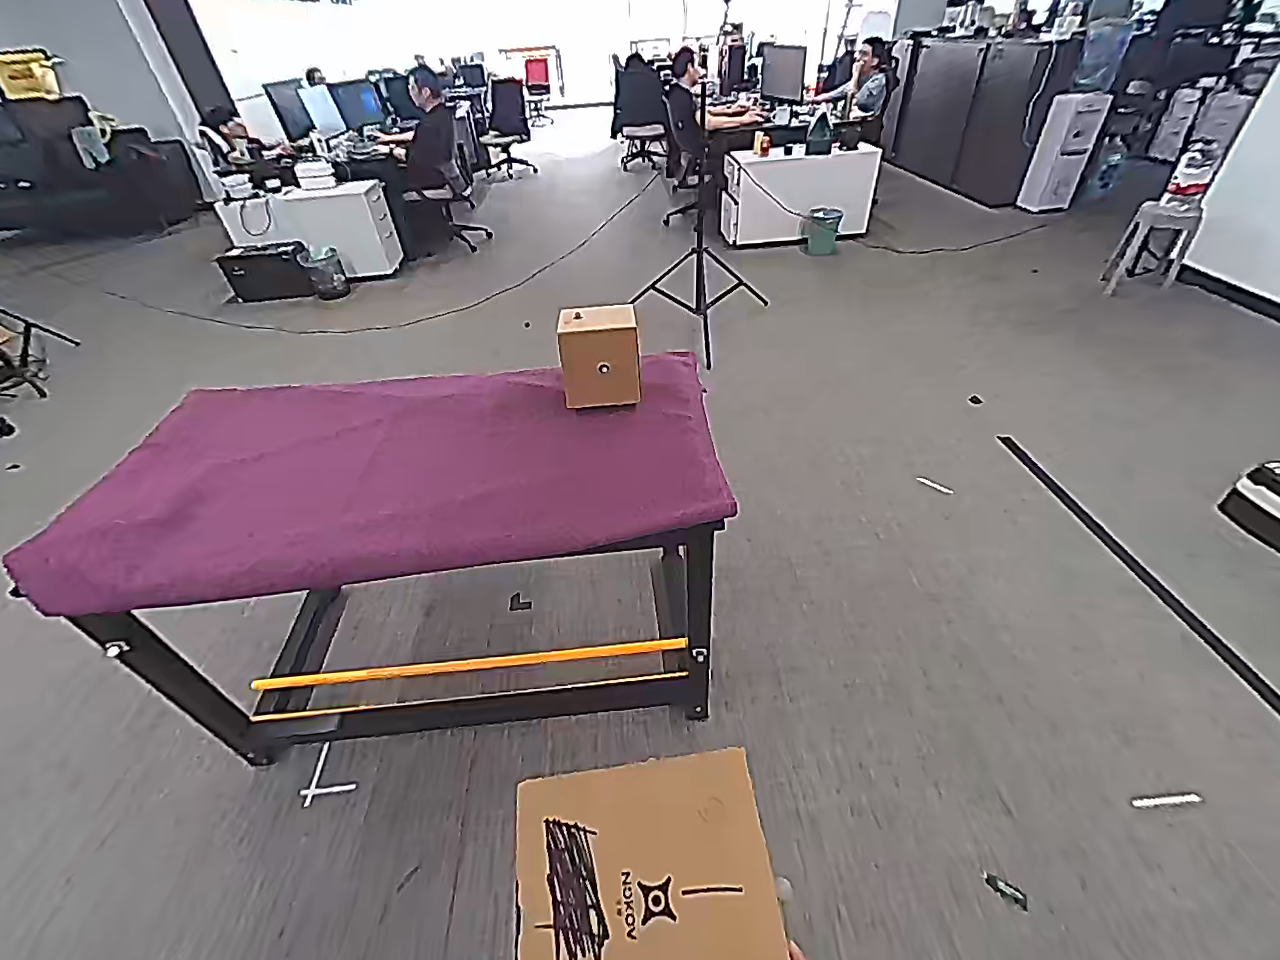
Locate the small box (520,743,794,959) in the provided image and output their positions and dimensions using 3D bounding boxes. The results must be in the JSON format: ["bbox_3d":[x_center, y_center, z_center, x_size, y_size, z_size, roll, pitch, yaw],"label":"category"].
[{"bbox_3d":[0.017,0.323,0.423,0.179,0.176,0.168,-10,52,2],"label":"small box"}]
